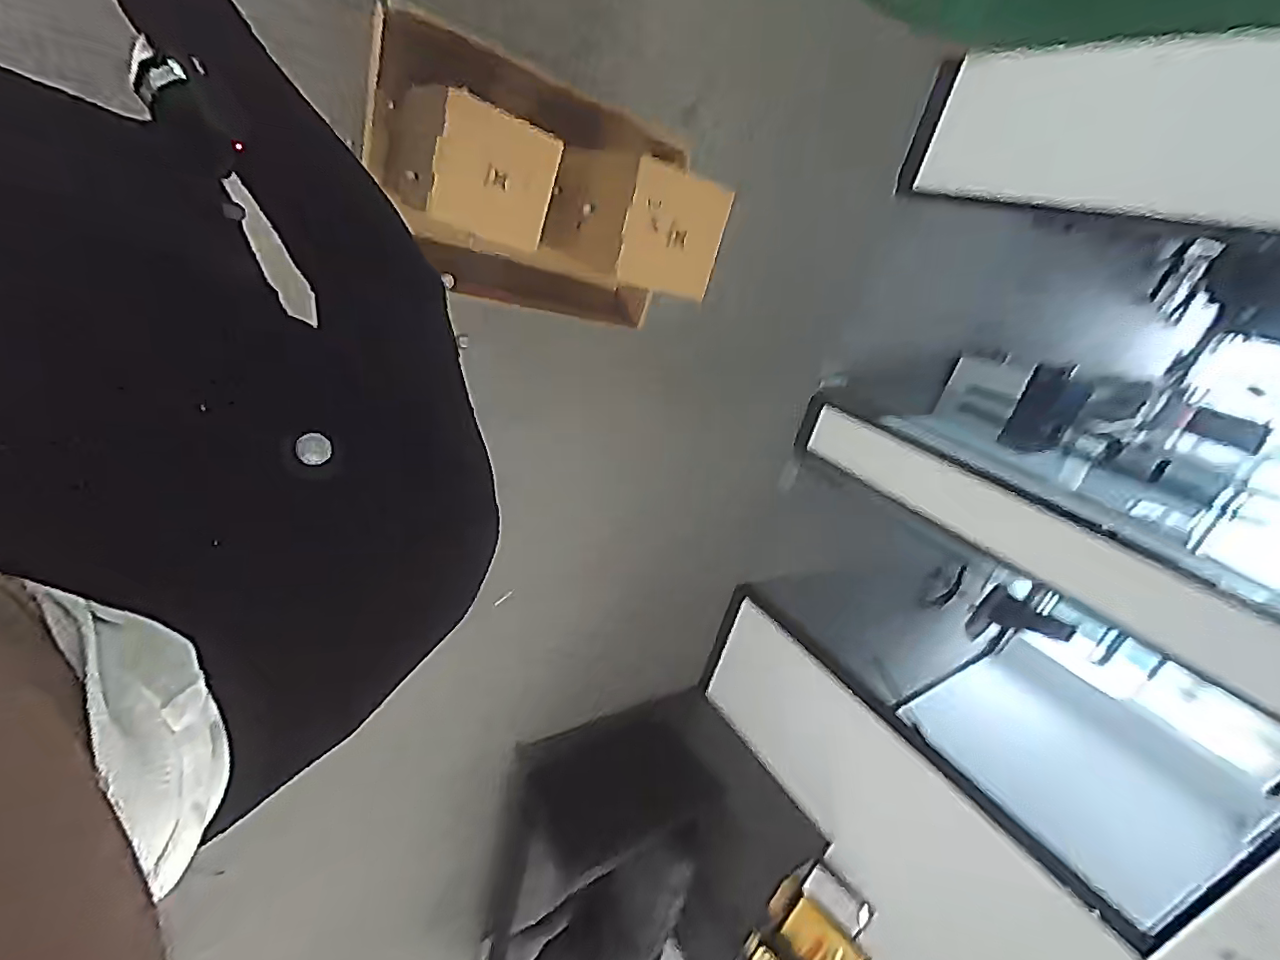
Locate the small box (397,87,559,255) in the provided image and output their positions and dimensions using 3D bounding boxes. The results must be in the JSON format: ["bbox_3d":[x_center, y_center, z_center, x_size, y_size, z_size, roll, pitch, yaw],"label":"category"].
[{"bbox_3d":[-0.259,-0.473,0.837,0.179,0.176,0.168,3,117,-41],"label":"small box"}]

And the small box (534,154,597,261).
[{"bbox_3d":[-0.071,-0.478,0.990,0.179,0.176,0.168,2,118,-36],"label":"small box"}]

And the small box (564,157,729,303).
[{"bbox_3d":[0.003,-0.399,0.864,0.179,0.176,0.168,0,118,-35],"label":"small box"}]

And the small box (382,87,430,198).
[{"bbox_3d":[-0.339,-0.558,0.951,0.179,0.176,0.168,0,119,-40],"label":"small box"}]
